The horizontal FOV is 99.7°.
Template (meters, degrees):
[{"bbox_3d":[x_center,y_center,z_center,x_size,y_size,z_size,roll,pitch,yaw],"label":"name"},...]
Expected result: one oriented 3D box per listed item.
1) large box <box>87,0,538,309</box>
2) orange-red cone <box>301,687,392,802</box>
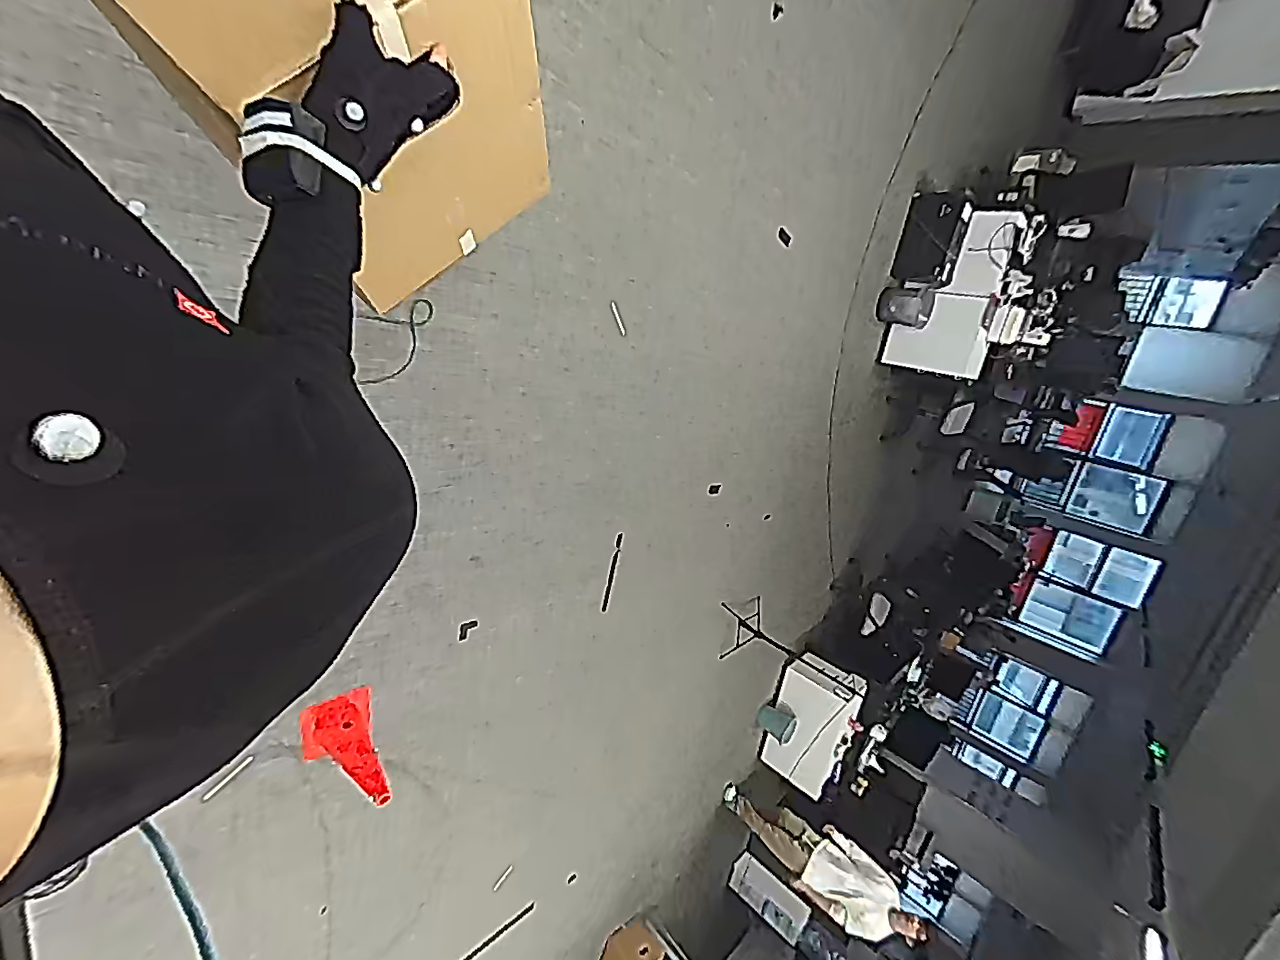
[{"bbox_3d":[-0.373,-0.495,0.634,0.320,0.408,0.320,-43,175,-13],"label":"large box"},{"bbox_3d":[-0.830,0.815,1.594,0.198,0.360,0.199,-11,115,-47],"label":"orange-red cone"}]
